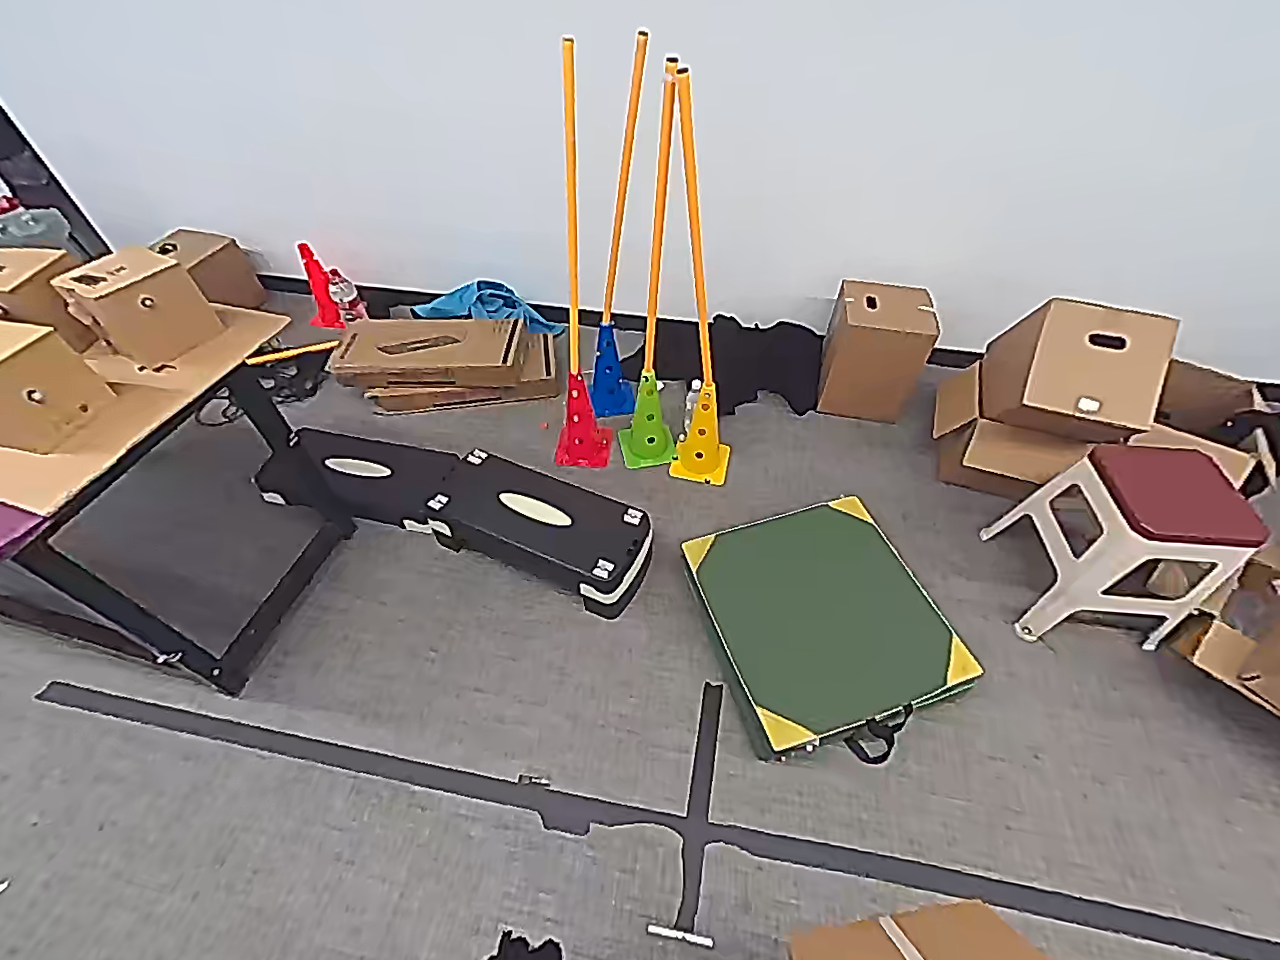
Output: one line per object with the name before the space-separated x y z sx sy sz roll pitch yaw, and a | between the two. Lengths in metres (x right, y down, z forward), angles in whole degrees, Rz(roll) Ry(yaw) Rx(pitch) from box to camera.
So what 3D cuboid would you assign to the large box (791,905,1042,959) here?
large box | 0.406 0.787 0.611 0.320 0.408 0.320 -10 79 -3
